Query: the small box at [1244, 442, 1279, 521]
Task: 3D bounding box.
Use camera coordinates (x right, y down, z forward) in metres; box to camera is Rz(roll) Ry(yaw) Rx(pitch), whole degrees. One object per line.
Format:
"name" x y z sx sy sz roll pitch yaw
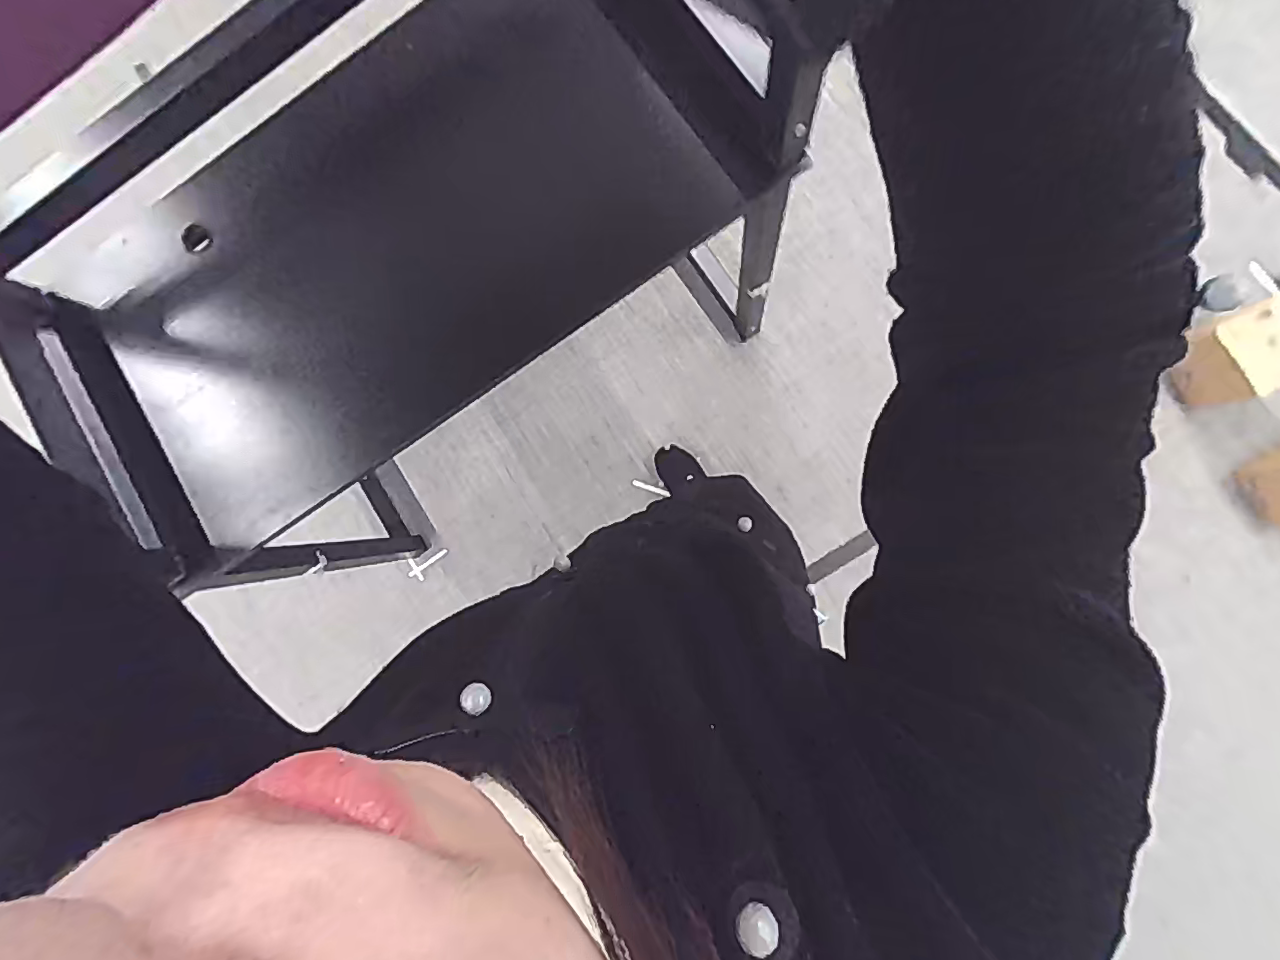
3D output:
"small box" 1.540 -0.012 1.214 0.179 0.176 0.168 -28 84 4

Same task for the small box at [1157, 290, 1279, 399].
"small box" 1.381 -0.302 1.252 0.168 0.176 0.179 -29 84 5
